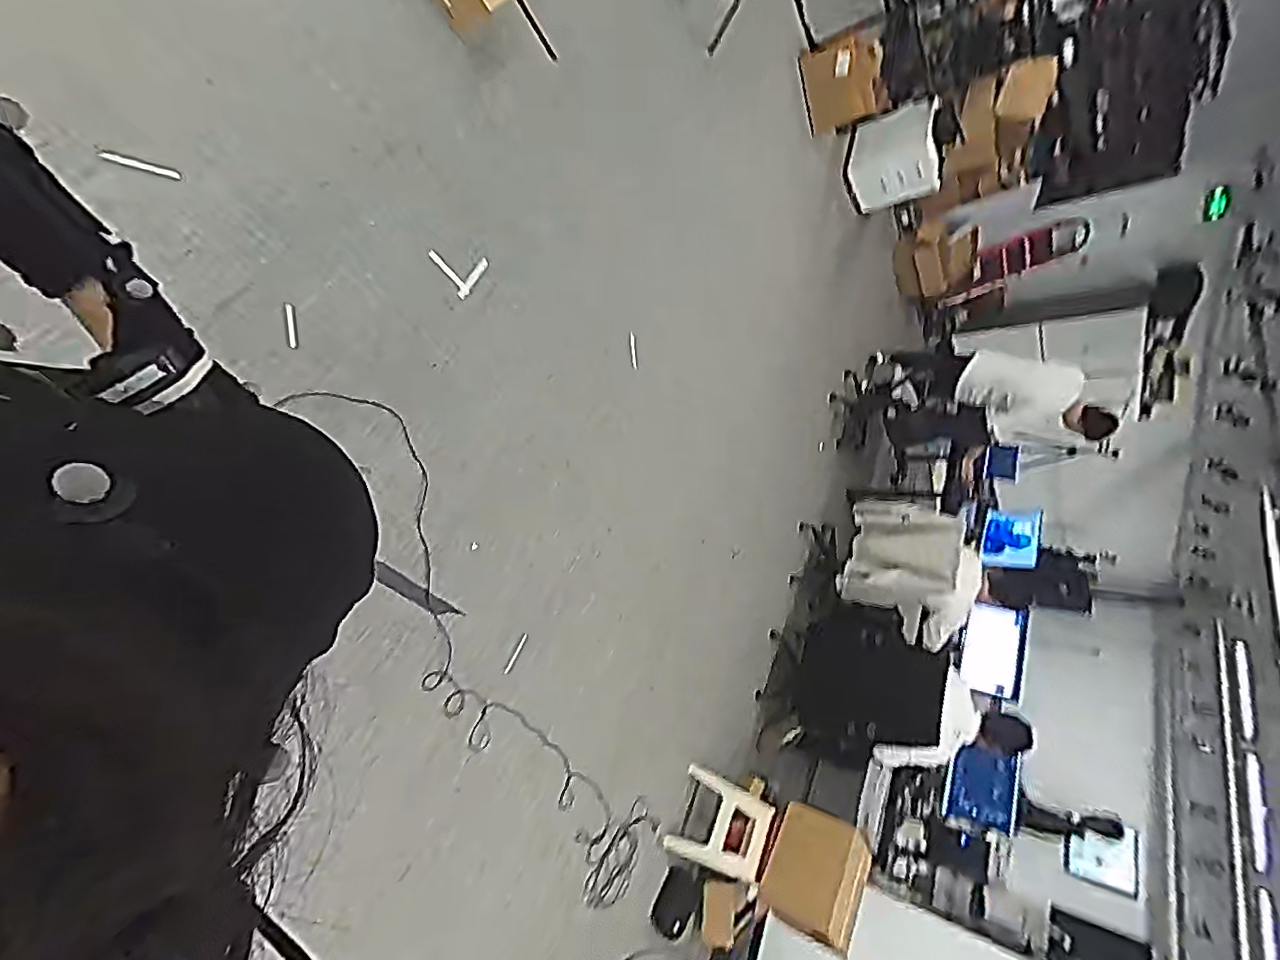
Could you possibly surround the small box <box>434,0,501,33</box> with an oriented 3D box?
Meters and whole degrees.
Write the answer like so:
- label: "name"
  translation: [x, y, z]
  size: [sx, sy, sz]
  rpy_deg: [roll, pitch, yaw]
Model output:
- label: "small box"
  translation: [-0.526, -1.519, 1.644]
  size: [0.168, 0.176, 0.179]
  rpy_deg: [51, 56, -37]
